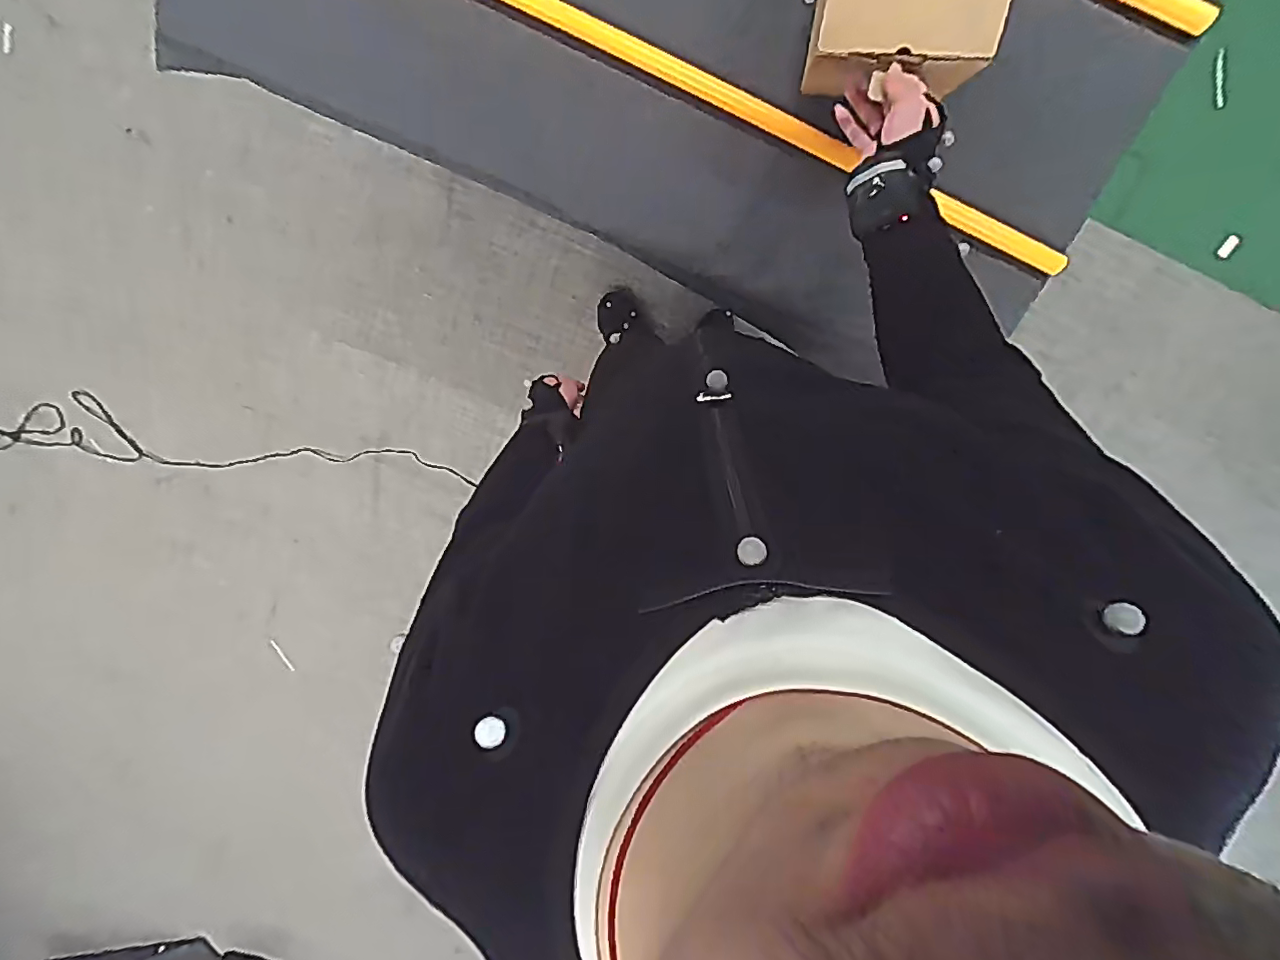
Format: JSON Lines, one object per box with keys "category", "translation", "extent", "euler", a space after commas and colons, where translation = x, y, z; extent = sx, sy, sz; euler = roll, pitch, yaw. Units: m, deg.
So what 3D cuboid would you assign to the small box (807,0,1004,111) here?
{"category": "small box", "translation": [0.276, -0.511, 0.576], "extent": [0.168, 0.176, 0.179], "euler": [6, 112, 10]}
